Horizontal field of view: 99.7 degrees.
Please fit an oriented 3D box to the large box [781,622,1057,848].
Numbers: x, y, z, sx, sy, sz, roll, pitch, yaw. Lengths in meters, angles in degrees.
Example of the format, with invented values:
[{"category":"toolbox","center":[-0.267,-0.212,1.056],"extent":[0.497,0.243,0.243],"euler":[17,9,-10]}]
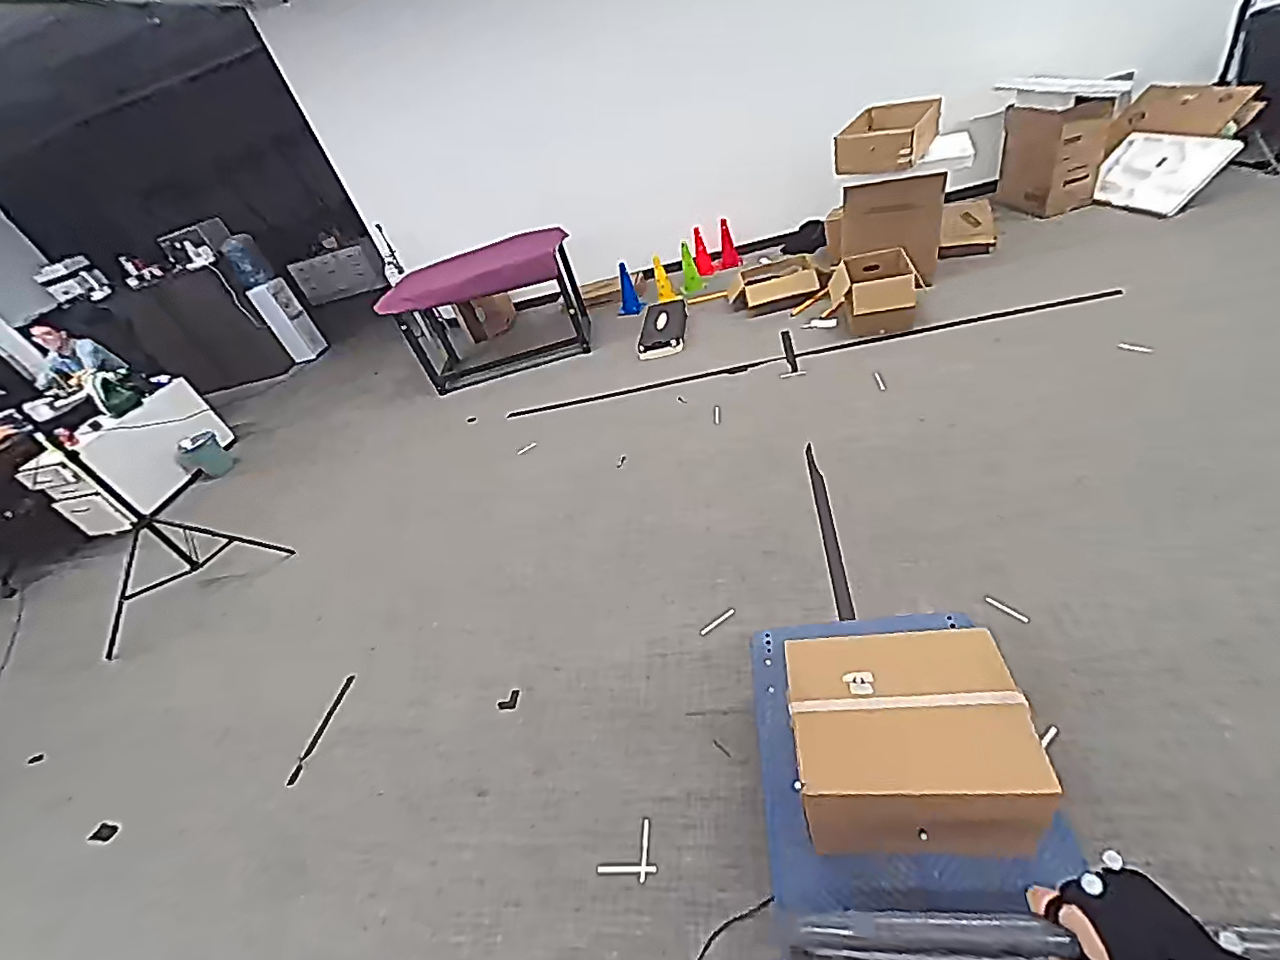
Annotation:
[{"category":"large box","center":[0.527,0.526,1.101],"extent":[0.408,0.320,0.320],"euler":[-10,37,15]}]
